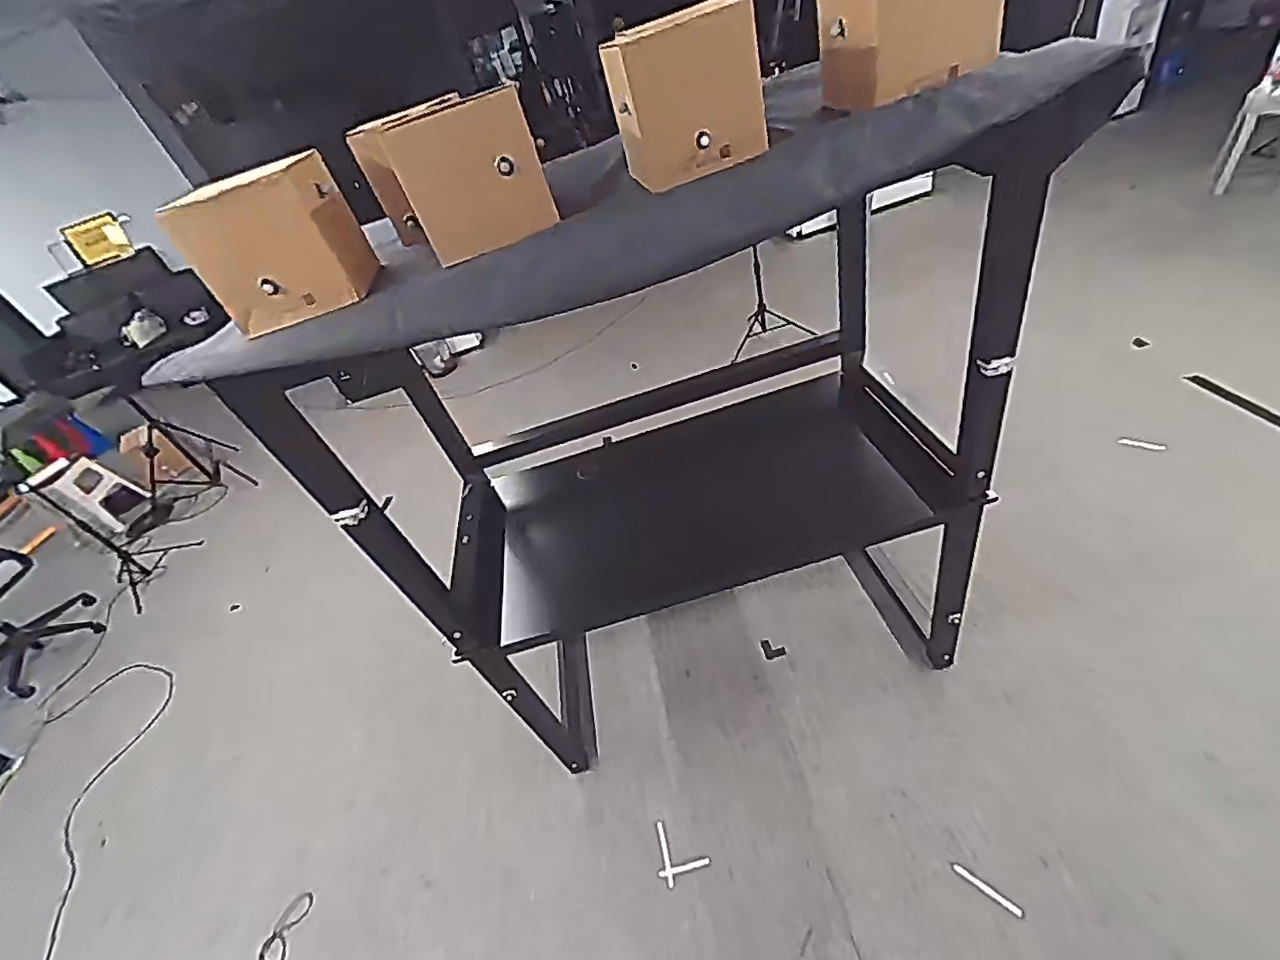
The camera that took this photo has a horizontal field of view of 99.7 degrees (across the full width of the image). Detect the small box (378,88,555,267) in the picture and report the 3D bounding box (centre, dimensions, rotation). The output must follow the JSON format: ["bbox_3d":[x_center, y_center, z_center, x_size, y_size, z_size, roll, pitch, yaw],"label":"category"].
[{"bbox_3d":[-0.224,-0.420,0.750,0.179,0.176,0.168,-18,37,-1],"label":"small box"}]

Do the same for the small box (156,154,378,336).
[{"bbox_3d":[-0.491,-0.325,0.750,0.168,0.176,0.179,-20,40,0],"label":"small box"}]

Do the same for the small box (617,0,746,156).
[{"bbox_3d":[0.068,-0.667,0.908,0.168,0.176,0.179,-17,39,4],"label":"small box"}]

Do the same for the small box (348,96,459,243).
[{"bbox_3d":[-0.357,-0.528,0.928,0.168,0.176,0.179,-17,39,3],"label":"small box"}]
